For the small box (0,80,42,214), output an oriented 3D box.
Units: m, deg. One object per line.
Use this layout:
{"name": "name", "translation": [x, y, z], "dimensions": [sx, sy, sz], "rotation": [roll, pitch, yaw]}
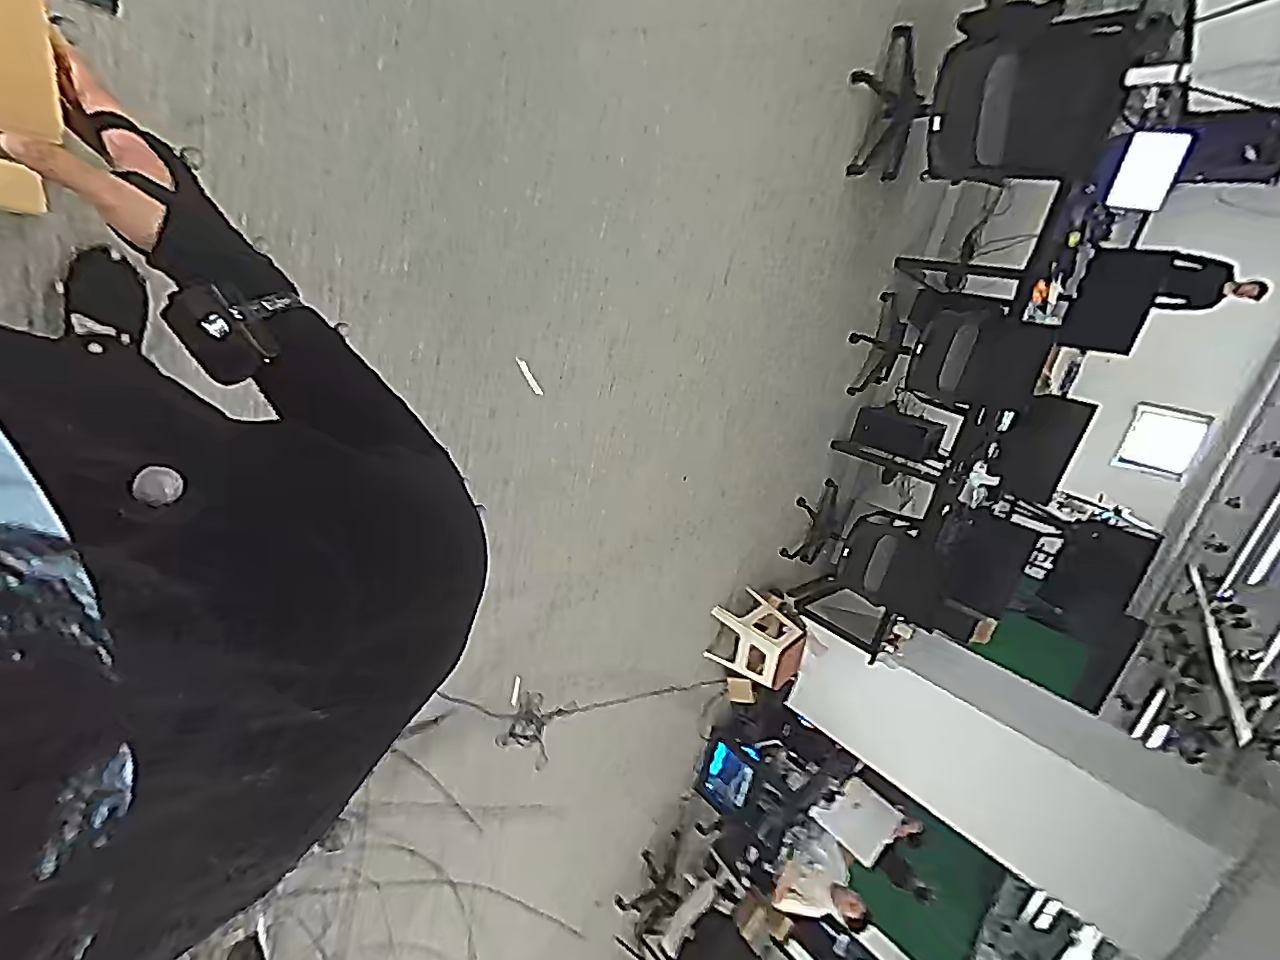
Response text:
{"name": "small box", "translation": [-1.019, -0.509, 0.799], "dimensions": [0.168, 0.176, 0.179], "rotation": [-9, 117, -45]}
